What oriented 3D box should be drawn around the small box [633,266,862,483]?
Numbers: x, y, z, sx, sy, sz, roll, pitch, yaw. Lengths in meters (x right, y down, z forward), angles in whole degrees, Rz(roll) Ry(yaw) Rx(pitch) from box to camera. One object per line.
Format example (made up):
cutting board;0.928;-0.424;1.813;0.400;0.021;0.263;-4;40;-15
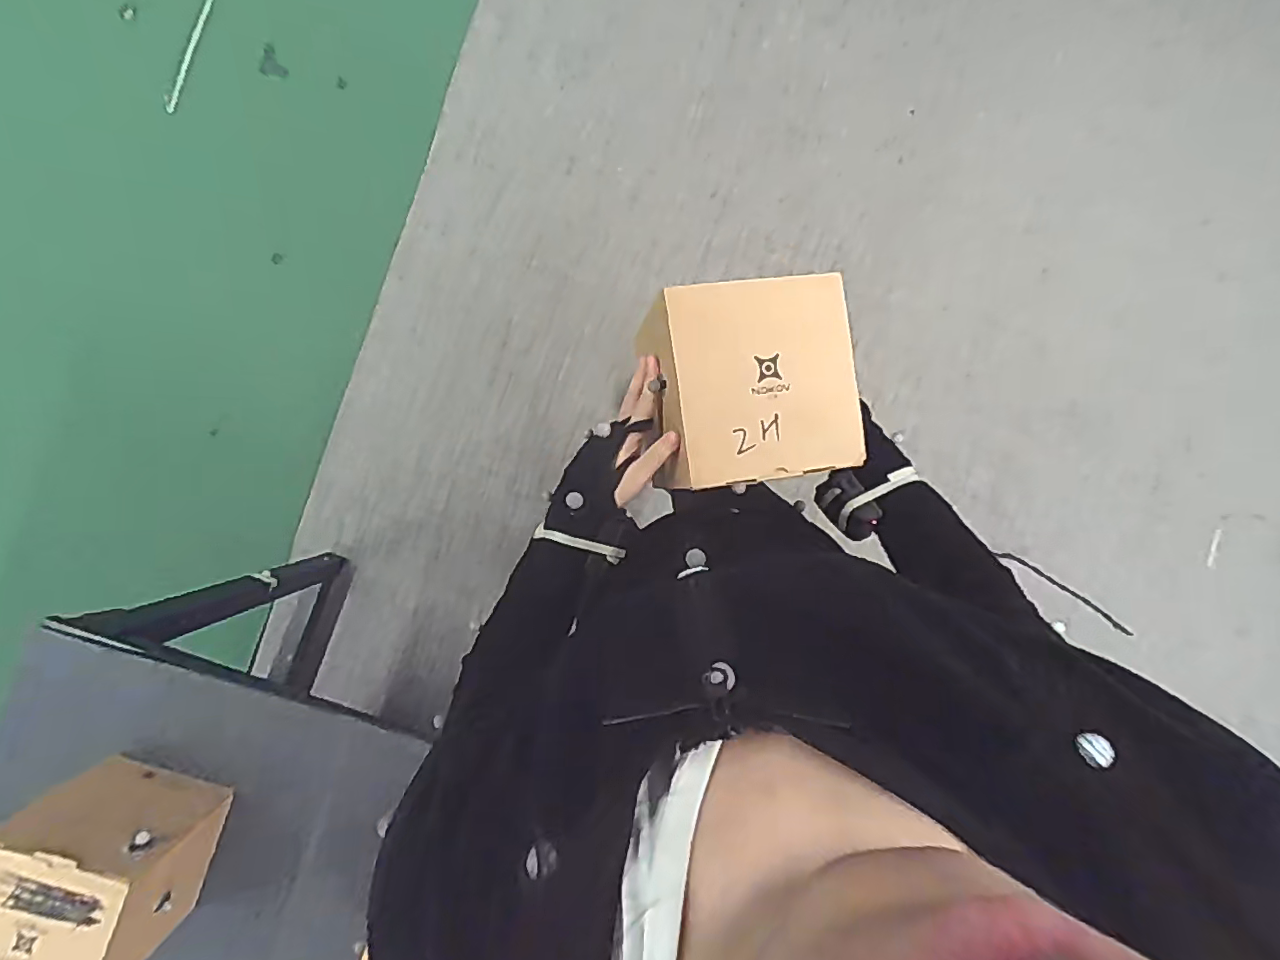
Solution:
small box;0.093;-0.093;0.543;0.168;0.176;0.179;-8;91;-10
